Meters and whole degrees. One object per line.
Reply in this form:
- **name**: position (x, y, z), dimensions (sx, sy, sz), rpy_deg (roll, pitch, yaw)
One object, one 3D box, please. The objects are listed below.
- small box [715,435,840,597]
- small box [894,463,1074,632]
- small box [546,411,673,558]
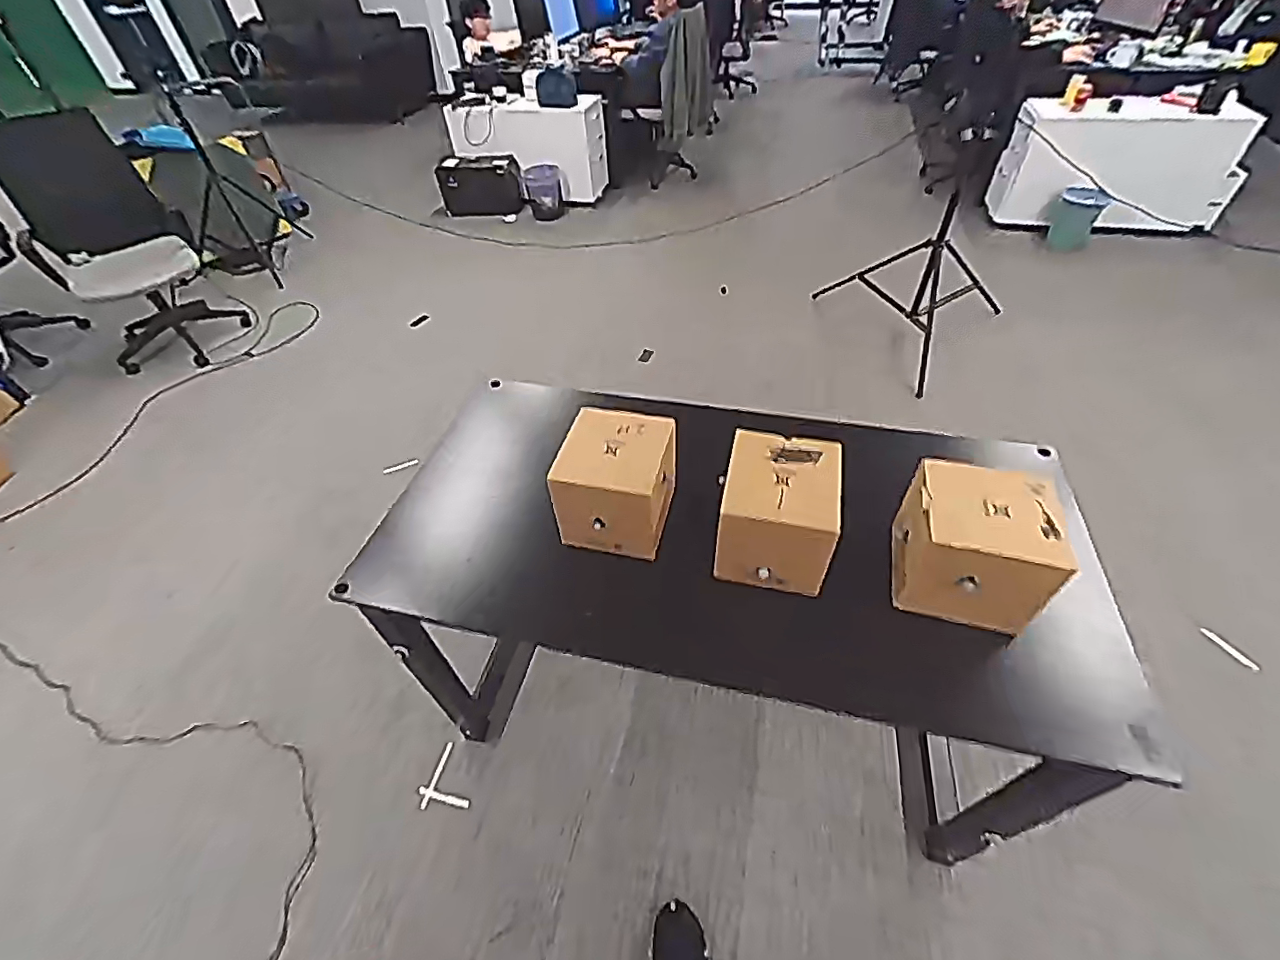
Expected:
- **small box**: position (0.214, 0.056, 0.859), dimensions (0.168, 0.176, 0.179), rpy_deg (9, 48, 12)
- **small box**: position (0.485, 0.101, 0.799), dimensions (0.179, 0.176, 0.168), rpy_deg (10, 48, 14)
- **small box**: position (-0.040, 0.009, 0.918), dimensions (0.168, 0.176, 0.179), rpy_deg (9, 48, 11)
